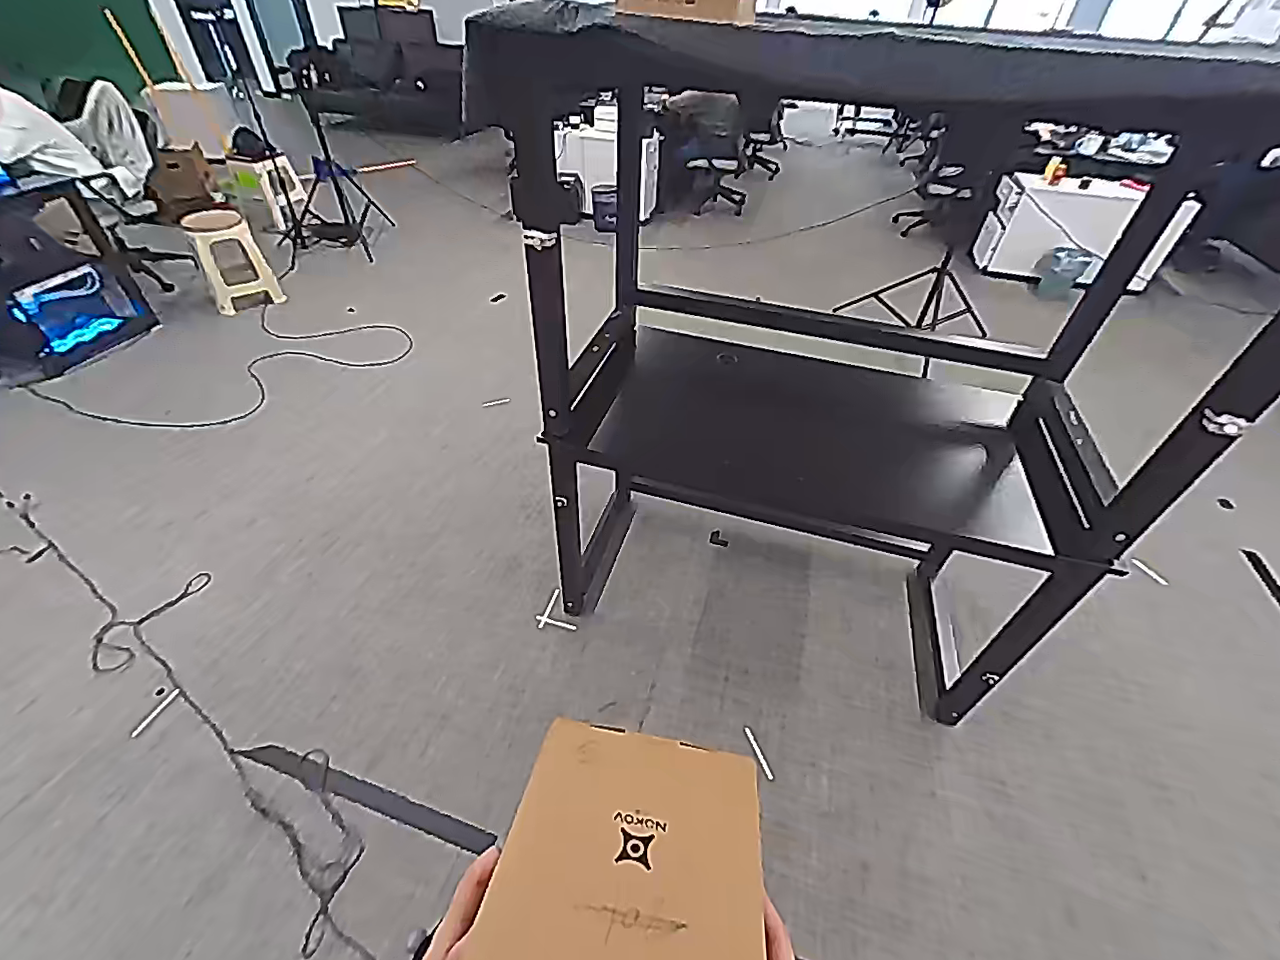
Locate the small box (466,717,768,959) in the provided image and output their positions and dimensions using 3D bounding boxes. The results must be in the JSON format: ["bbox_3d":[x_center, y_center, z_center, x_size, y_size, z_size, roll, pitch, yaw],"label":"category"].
[{"bbox_3d":[-0.010,0.310,0.382,0.168,0.176,0.179,8,23,5],"label":"small box"}]

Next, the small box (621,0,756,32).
[{"bbox_3d":[0.075,-0.710,0.719,0.168,0.176,0.179,15,41,10],"label":"small box"}]
